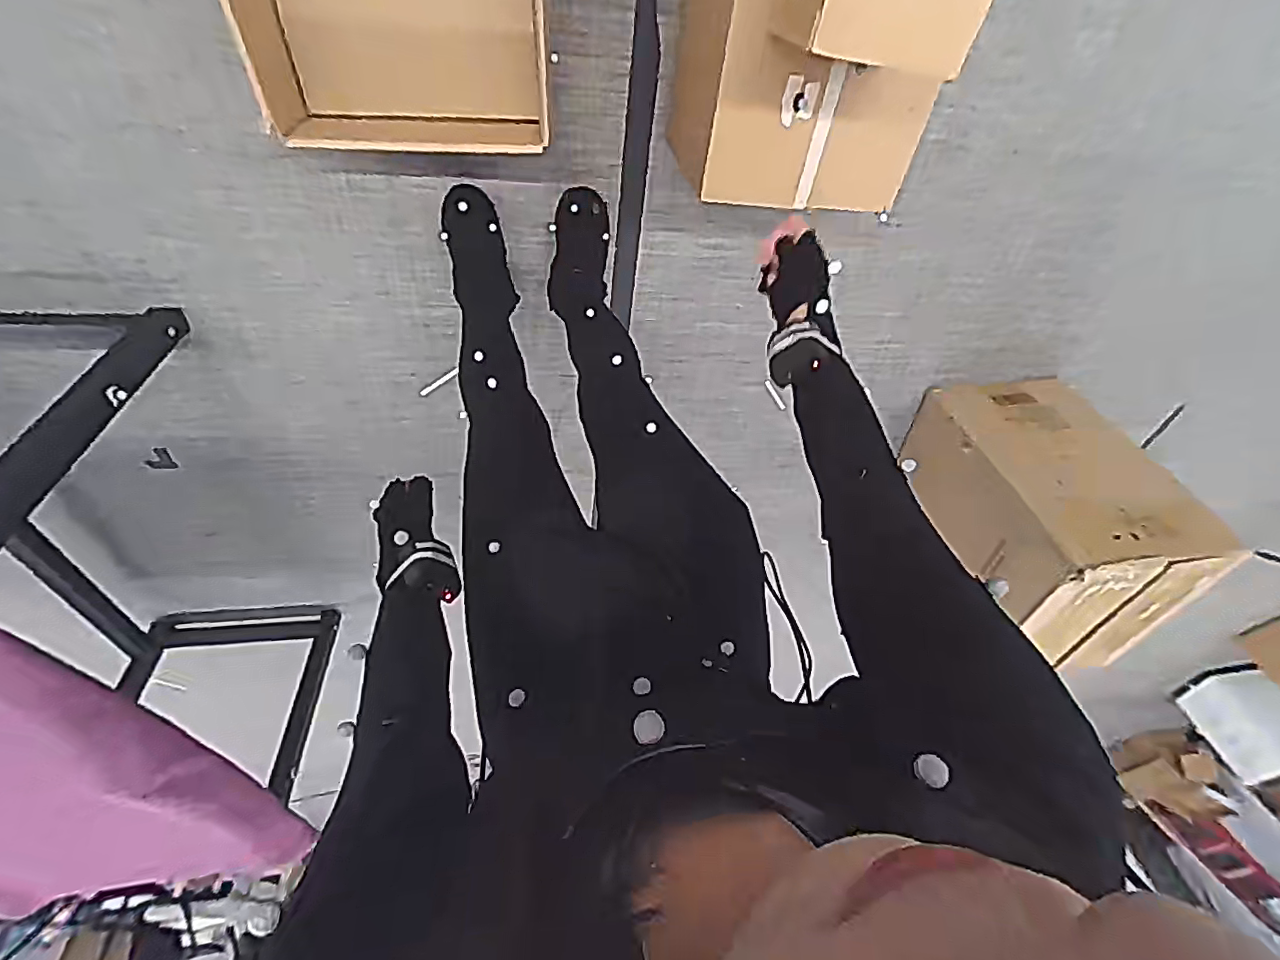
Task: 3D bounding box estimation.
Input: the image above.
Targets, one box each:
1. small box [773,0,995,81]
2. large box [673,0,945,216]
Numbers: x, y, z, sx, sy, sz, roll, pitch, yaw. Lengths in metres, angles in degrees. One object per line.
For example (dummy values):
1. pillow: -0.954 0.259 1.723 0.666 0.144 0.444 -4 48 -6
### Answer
1. small box: 0.259 -0.544 0.562 0.179 0.176 0.168 1 136 -11
2. large box: 0.245 -0.660 0.792 0.320 0.320 0.408 0 136 -9
